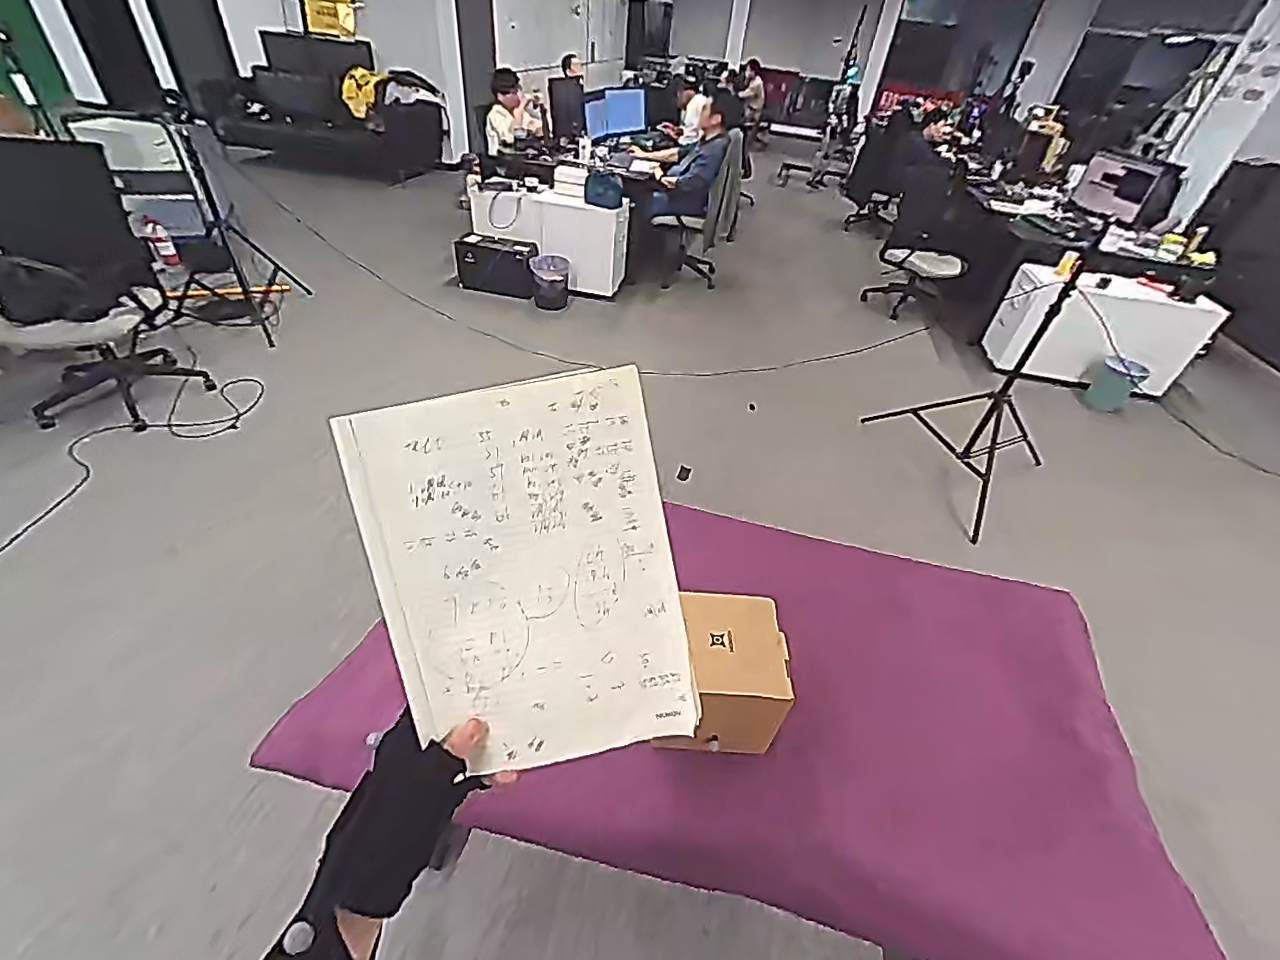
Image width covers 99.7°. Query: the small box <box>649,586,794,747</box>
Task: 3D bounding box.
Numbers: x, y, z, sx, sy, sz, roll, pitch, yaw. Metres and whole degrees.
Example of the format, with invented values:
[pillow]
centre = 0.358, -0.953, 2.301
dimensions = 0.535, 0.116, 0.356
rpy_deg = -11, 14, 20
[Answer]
[small box]
centre = 0.112, 0.284, 0.819
dimensions = 0.179, 0.176, 0.168
rpy_deg = 5, 39, -2
